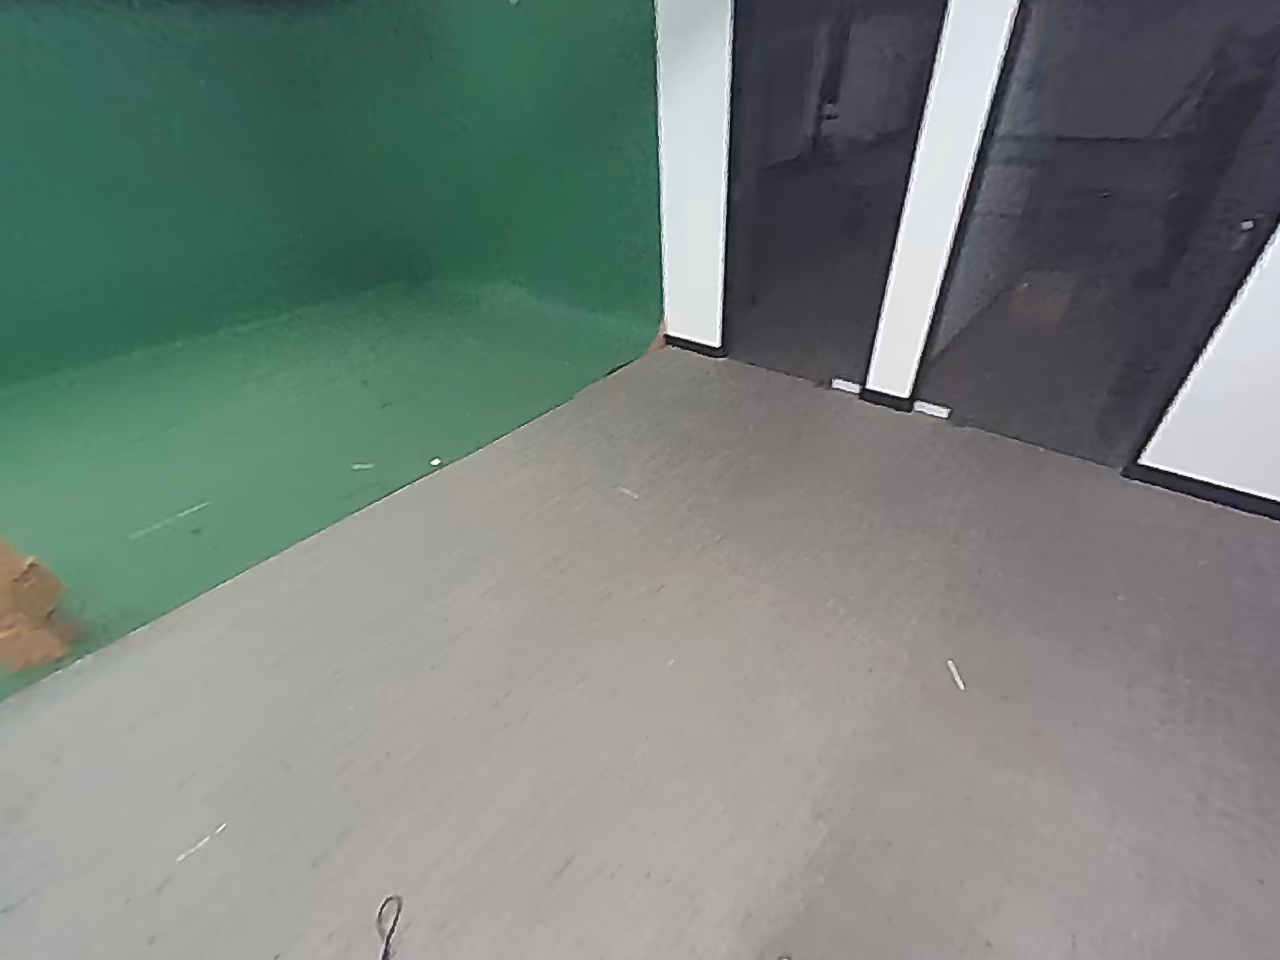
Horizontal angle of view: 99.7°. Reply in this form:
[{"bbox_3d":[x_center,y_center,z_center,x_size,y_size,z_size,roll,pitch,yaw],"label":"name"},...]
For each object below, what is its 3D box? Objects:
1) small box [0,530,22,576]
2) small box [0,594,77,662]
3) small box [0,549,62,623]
[{"bbox_3d":[-2.106,0.232,1.681,0.168,0.176,0.179,11,40,15],"label":"small box"},{"bbox_3d":[-2.113,0.500,1.868,0.168,0.176,0.179,-22,41,-24],"label":"small box"},{"bbox_3d":[-2.094,0.358,1.785,0.168,0.176,0.179,-7,37,-8],"label":"small box"}]
